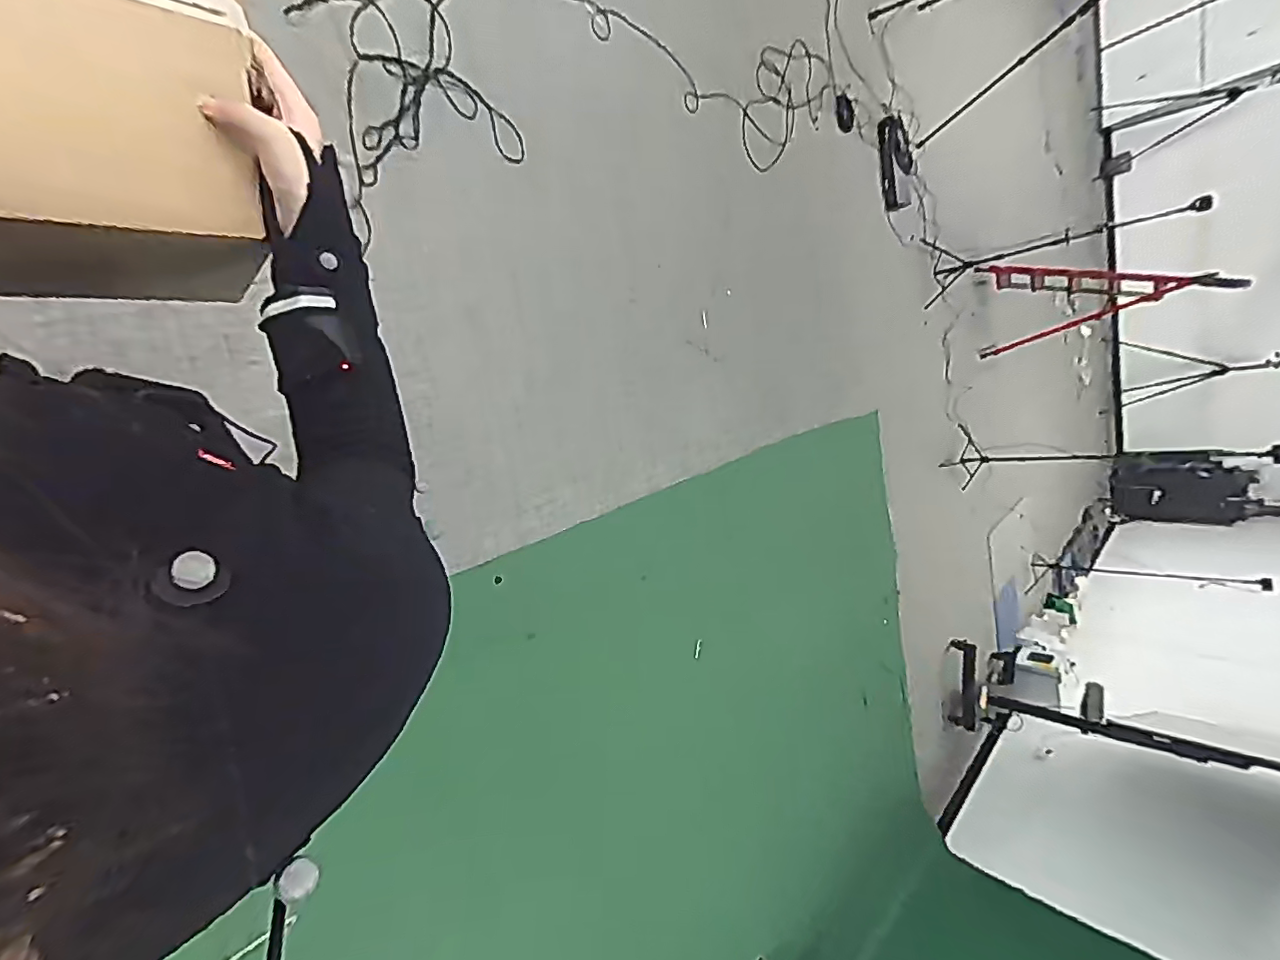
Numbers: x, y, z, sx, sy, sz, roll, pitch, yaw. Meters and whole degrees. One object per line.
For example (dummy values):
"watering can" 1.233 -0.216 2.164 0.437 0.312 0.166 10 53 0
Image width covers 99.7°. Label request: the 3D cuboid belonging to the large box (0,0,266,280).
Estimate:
"large box" -0.559 -0.333 0.398 0.408 0.320 0.320 -14 105 -38
